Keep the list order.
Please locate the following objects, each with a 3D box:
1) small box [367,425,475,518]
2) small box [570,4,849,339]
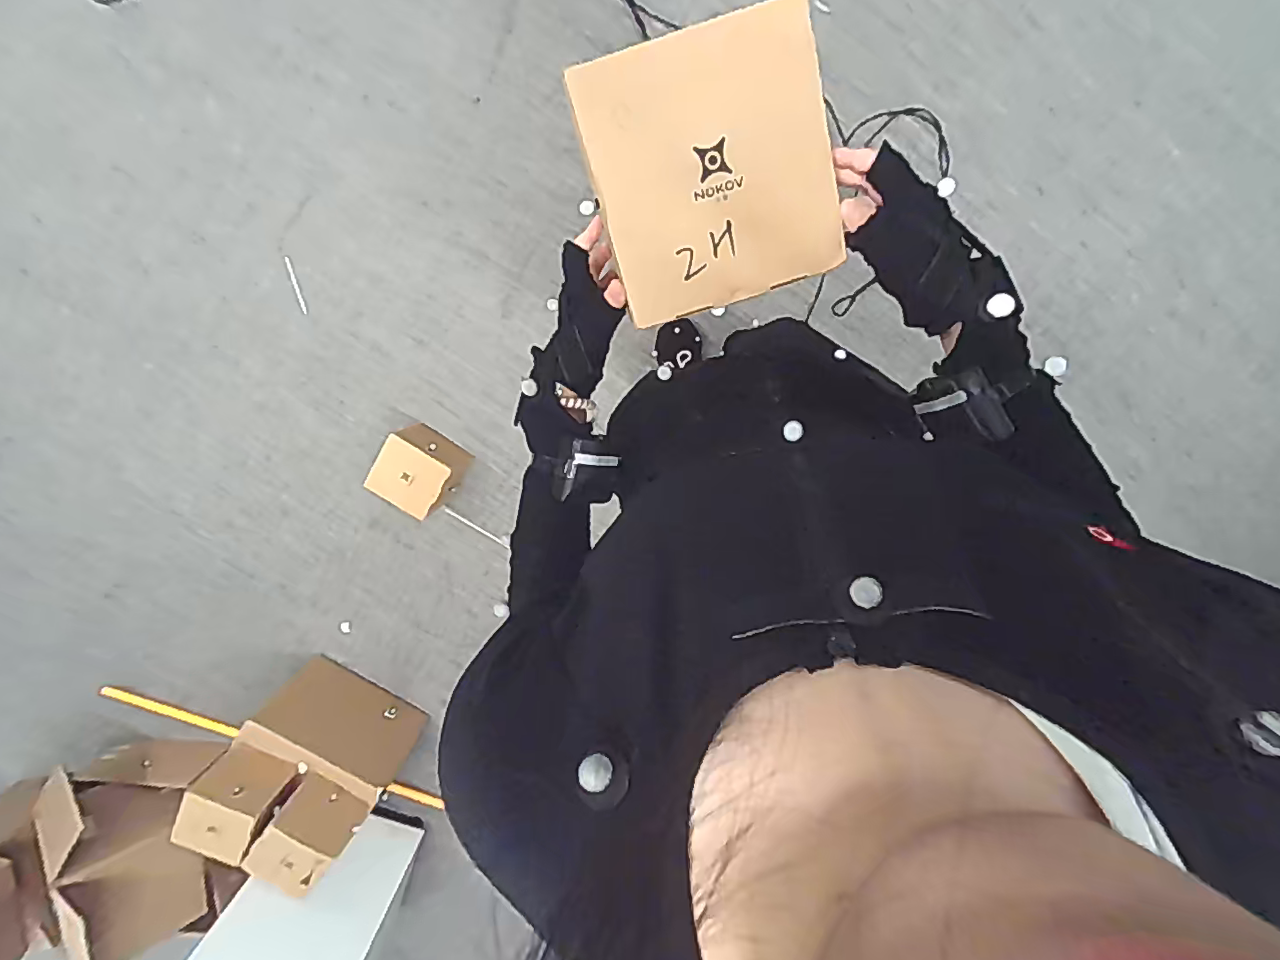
[{"bbox_3d":[-0.571,-0.030,1.430,0.179,0.176,0.168,32,104,-7],"label":"small box"},{"bbox_3d":[0.049,-0.229,0.450,0.168,0.176,0.179,-16,109,4],"label":"small box"}]
